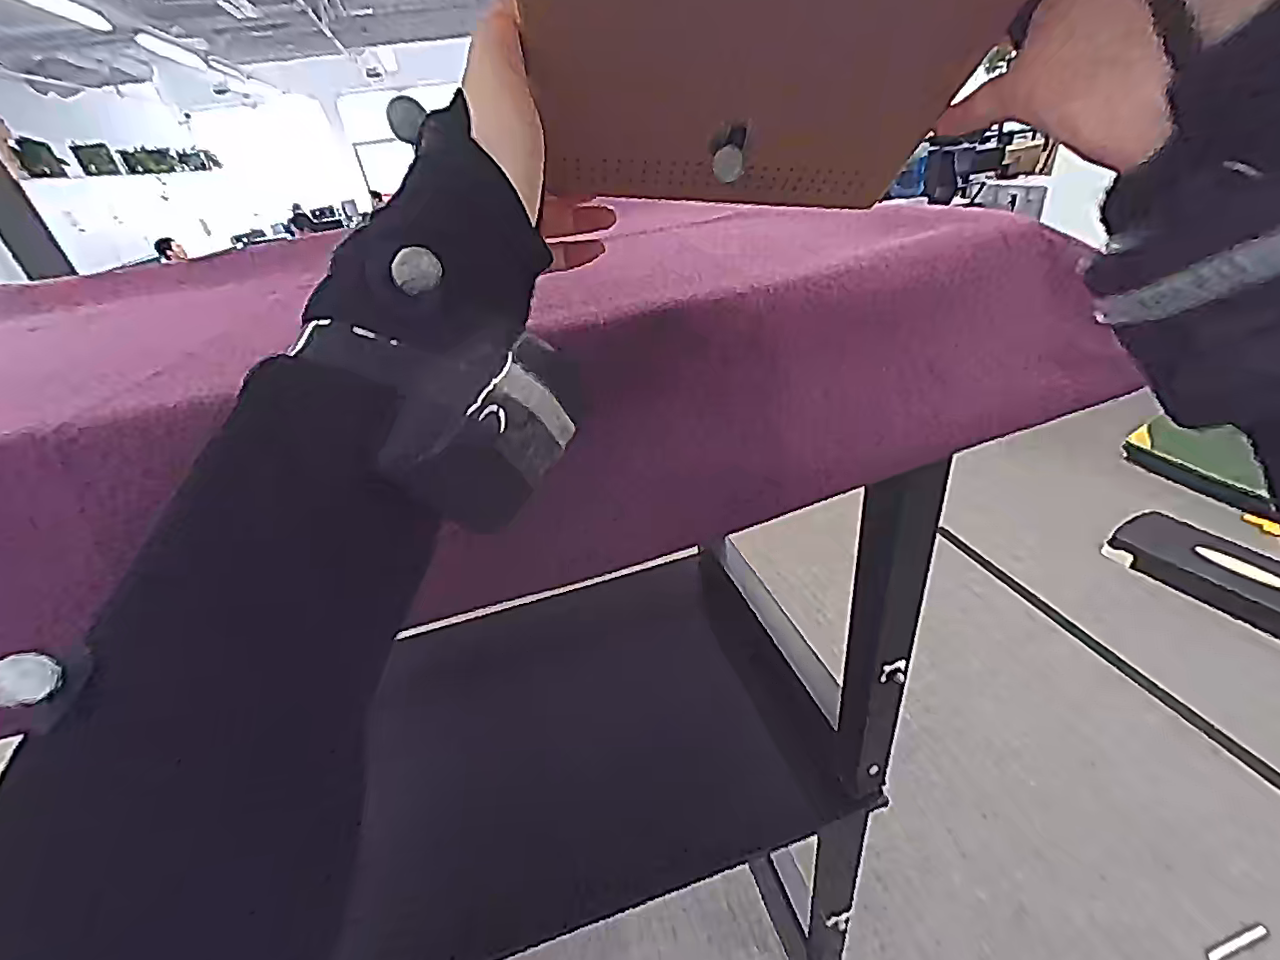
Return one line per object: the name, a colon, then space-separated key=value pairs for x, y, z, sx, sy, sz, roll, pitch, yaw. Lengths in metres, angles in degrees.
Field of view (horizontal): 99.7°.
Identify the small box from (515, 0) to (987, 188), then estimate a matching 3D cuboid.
small box: x=0.041 y=-0.246 z=0.215 sx=0.179 sy=0.168 sz=0.176 roll=0 pitch=-11 yaw=-4
